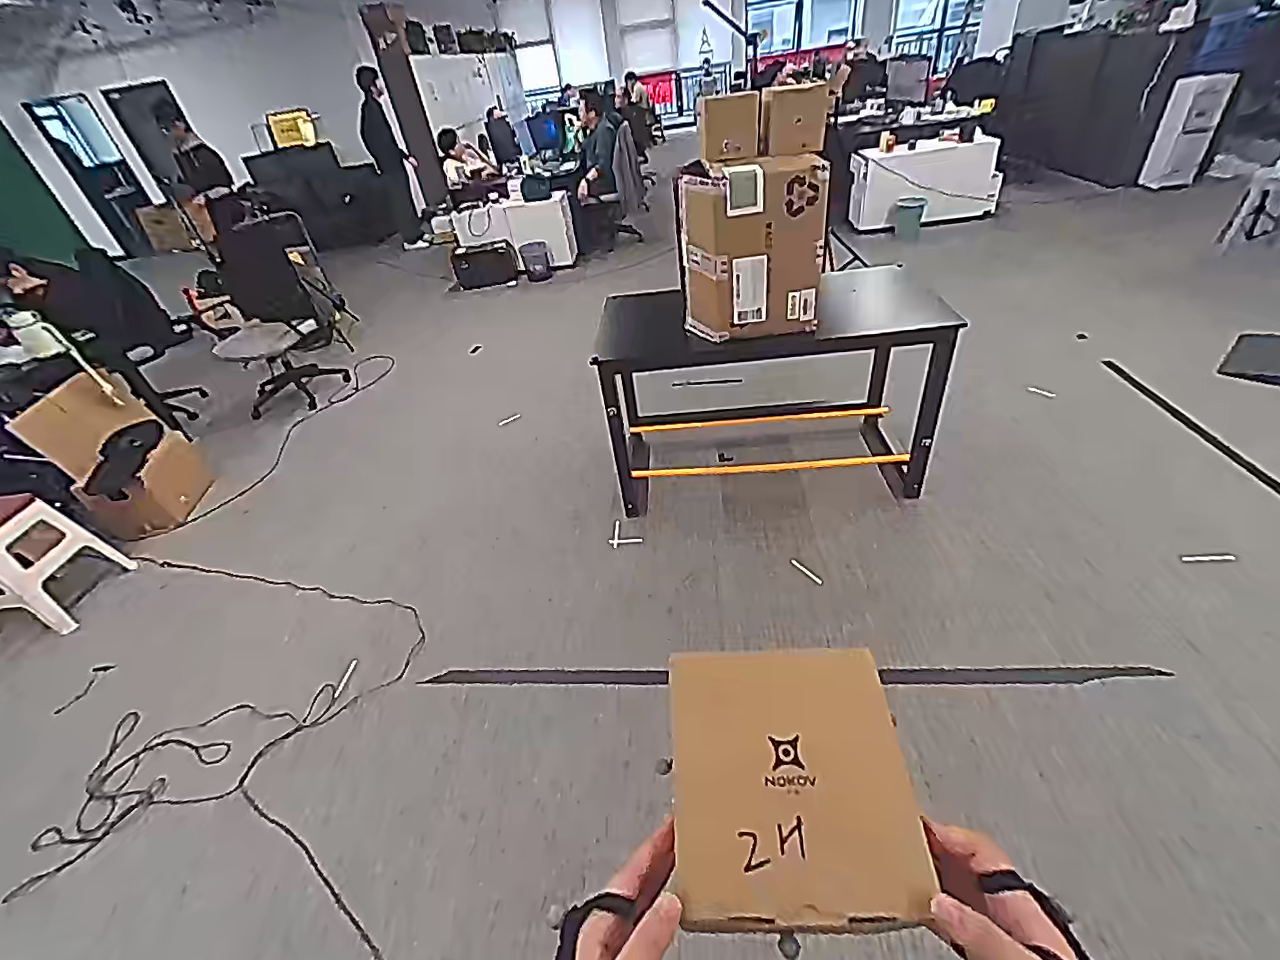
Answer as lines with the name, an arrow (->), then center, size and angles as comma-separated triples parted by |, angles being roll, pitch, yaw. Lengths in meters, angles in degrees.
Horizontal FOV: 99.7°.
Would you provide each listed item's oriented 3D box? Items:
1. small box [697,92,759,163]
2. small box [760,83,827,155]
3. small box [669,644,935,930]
small box -> 0.273, -1.112, 1.709 | 0.168, 0.176, 0.179 | -8, 36, 1
small box -> 0.471, -1.120, 1.683 | 0.168, 0.176, 0.179 | -3, 38, 3
small box -> 0.108, 0.256, 0.452 | 0.168, 0.176, 0.179 | -3, 48, 4
